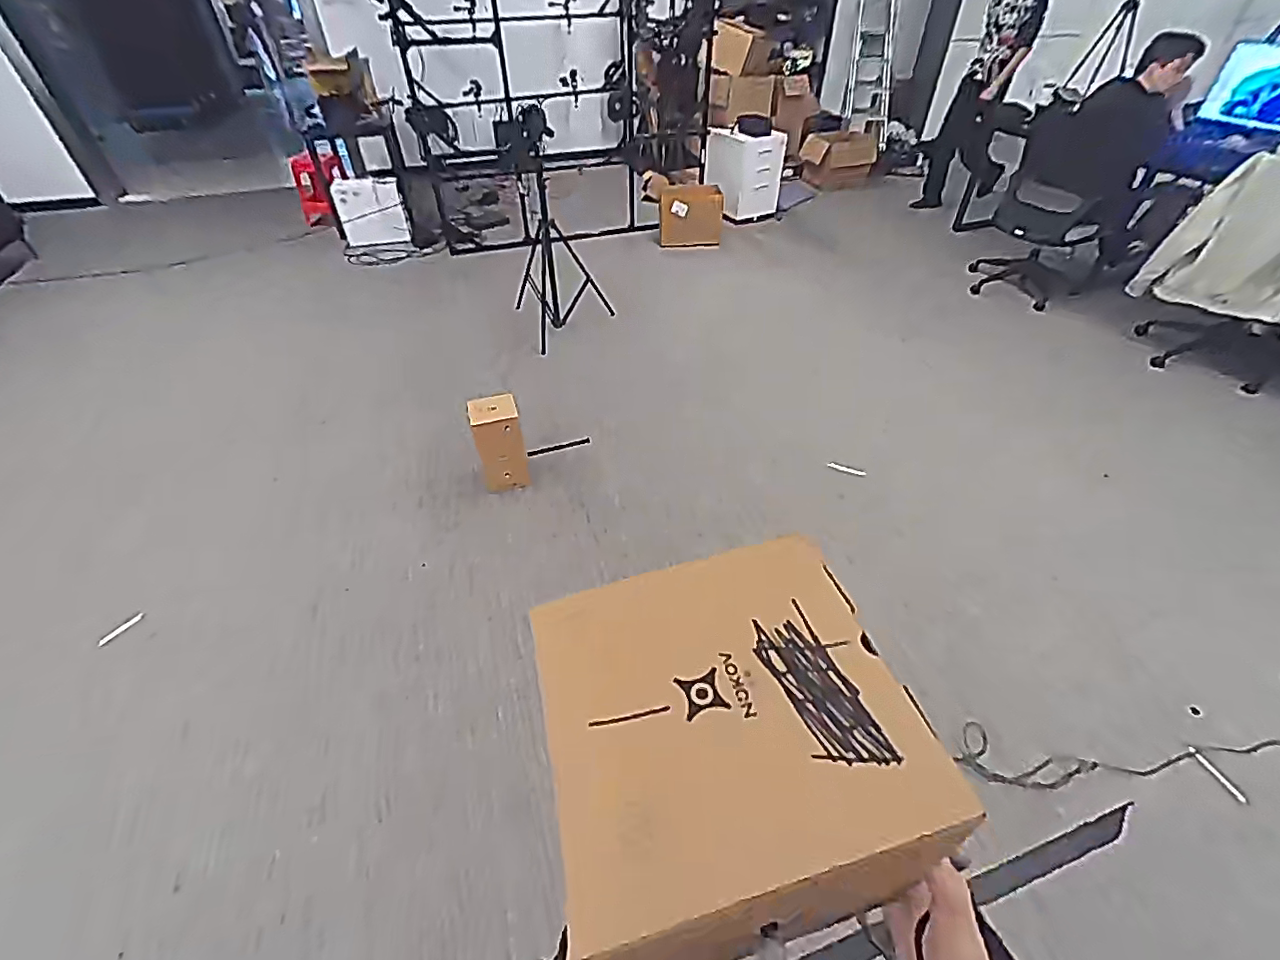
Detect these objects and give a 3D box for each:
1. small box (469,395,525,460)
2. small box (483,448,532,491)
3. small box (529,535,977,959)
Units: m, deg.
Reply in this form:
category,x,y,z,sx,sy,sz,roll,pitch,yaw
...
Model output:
category,x,y,z,sx,sy,sz,roll,pitch,yaw
small box,-0.541,-0.199,2.069,0.179,0.176,0.168,-14,44,-13
small box,-0.540,-0.075,2.180,0.168,0.176,0.179,-13,45,-13
small box,0.045,0.165,0.323,0.179,0.176,0.168,-15,43,-6
